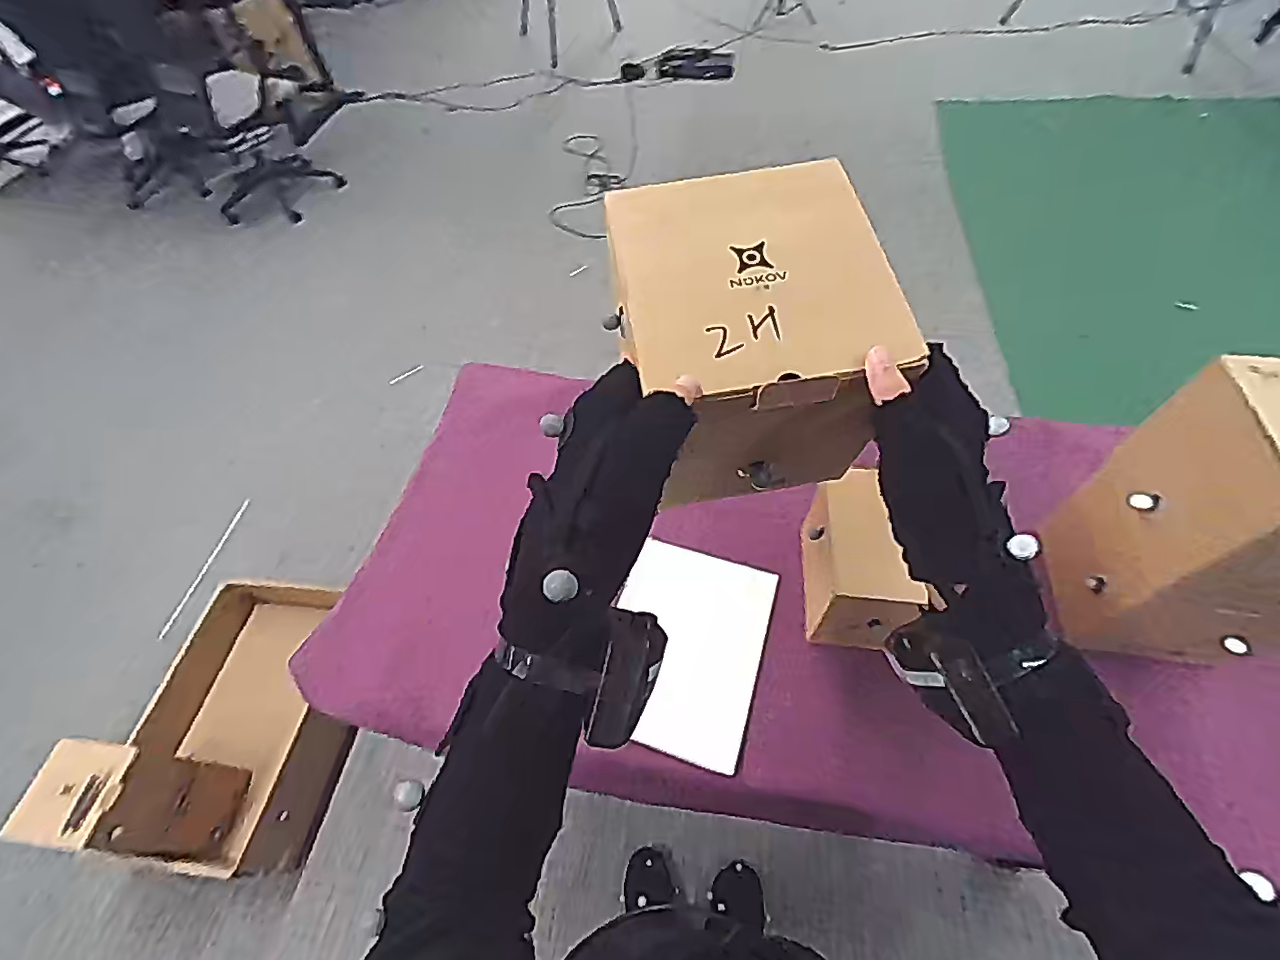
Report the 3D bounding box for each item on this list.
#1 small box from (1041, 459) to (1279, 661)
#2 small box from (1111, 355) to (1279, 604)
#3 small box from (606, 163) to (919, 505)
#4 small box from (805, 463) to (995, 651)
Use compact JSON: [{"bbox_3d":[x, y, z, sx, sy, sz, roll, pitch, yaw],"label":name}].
[{"bbox_3d":[0.625,0.100,0.647,0.168,0.176,0.179,7,57,10],"label":"small box"},{"bbox_3d":[0.606,0.008,0.512,0.168,0.176,0.179,7,58,9],"label":"small box"},{"bbox_3d":[0.069,-0.100,0.413,0.168,0.176,0.179,-9,66,-2],"label":"small box"},{"bbox_3d":[0.306,0.101,0.678,0.168,0.176,0.179,4,56,8],"label":"small box"}]
